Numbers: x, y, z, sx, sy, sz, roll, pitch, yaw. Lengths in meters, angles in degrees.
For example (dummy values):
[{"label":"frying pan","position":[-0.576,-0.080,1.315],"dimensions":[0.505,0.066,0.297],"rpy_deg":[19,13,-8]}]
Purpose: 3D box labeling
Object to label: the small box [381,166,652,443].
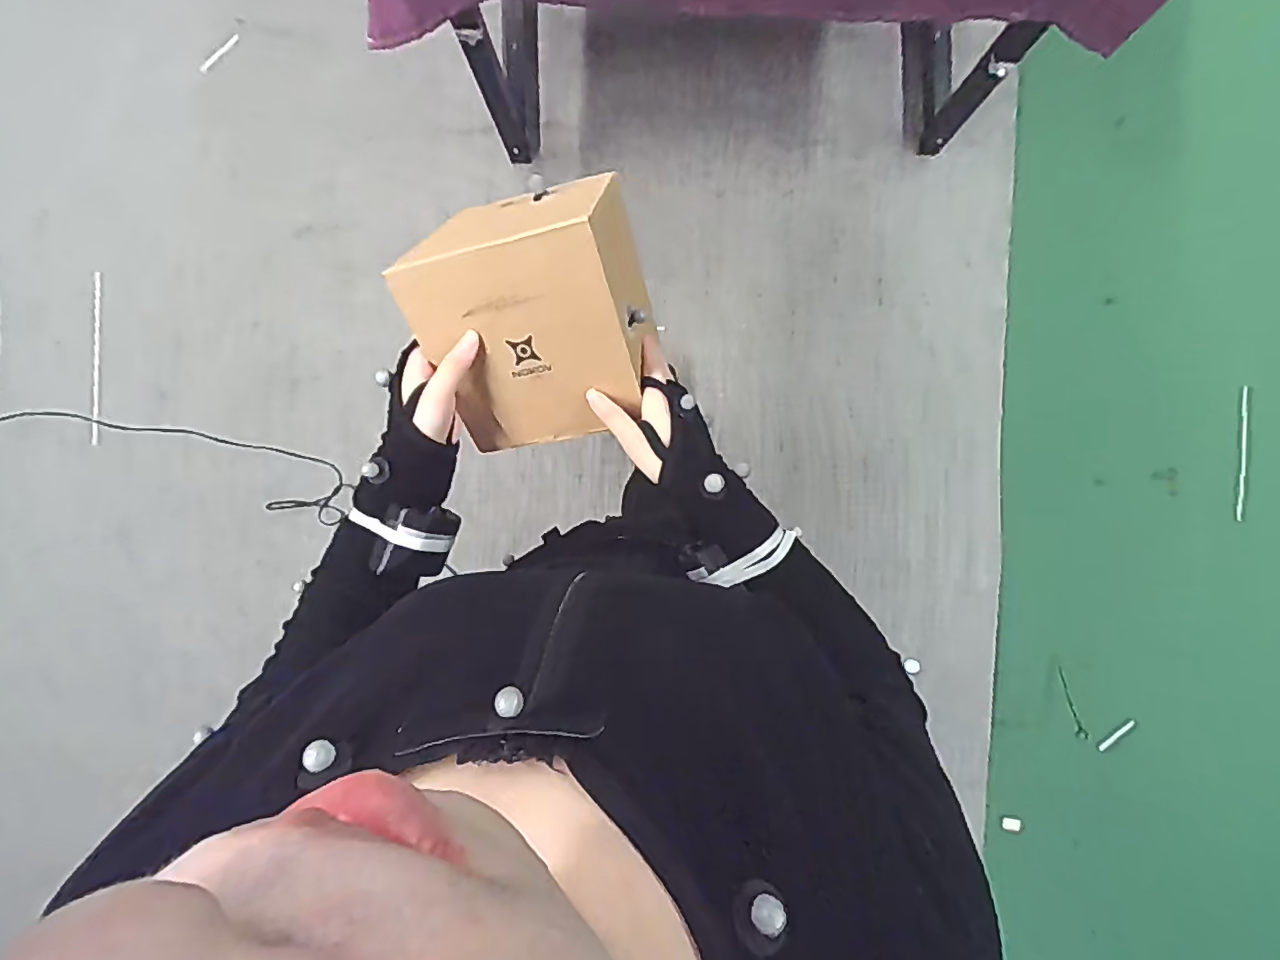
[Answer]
[{"label":"small box","position":[-0.089,-0.160,0.497],"dimensions":[0.168,0.176,0.179],"rpy_deg":[-8,128,12]}]
